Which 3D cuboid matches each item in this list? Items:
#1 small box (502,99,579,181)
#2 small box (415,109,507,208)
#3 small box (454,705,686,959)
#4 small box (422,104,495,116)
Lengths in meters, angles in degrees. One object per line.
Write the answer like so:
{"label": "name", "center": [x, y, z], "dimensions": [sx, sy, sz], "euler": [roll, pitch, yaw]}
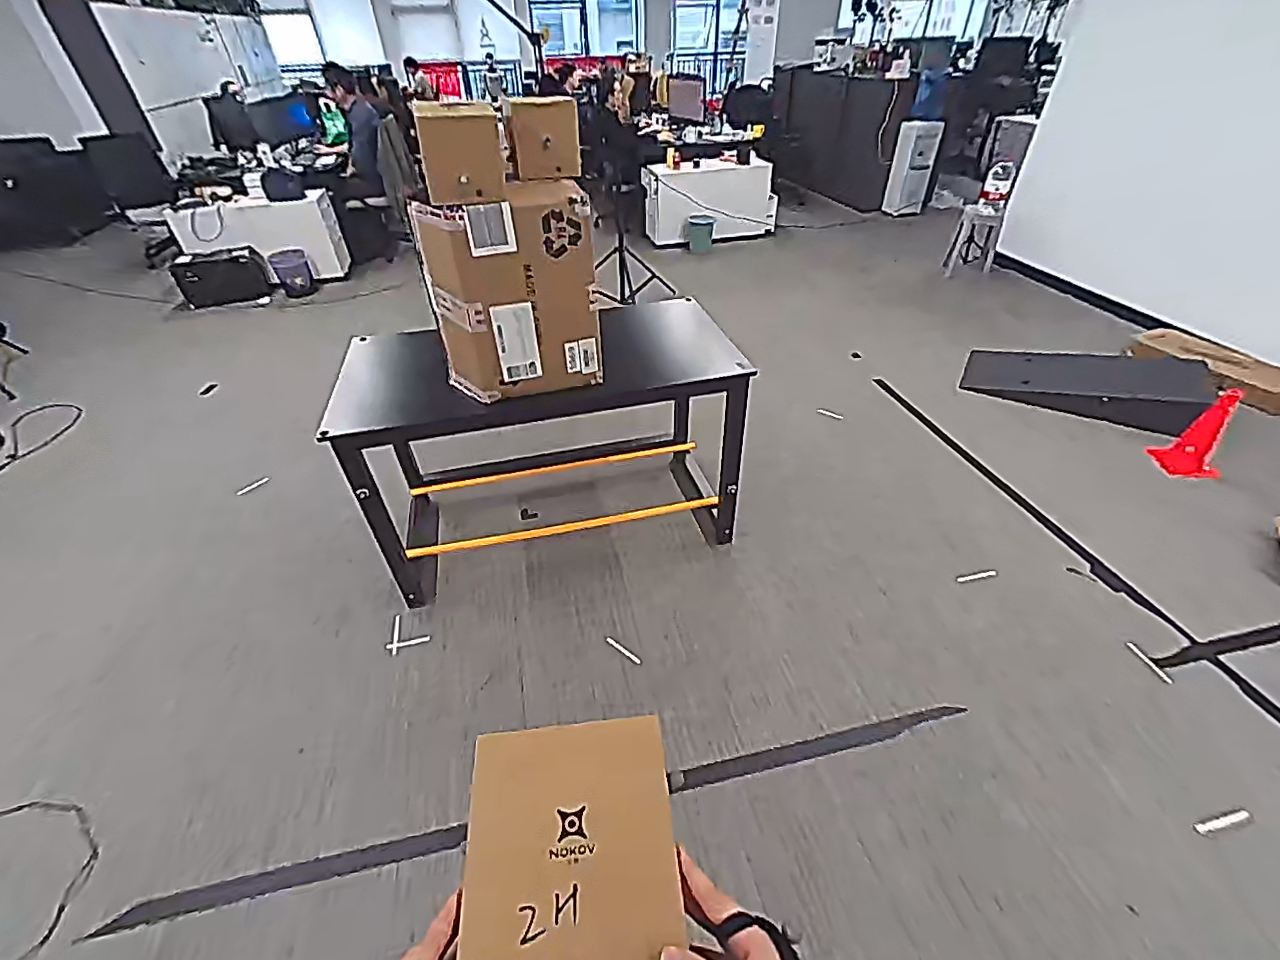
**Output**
{"label": "small box", "center": [-0.260, -0.892, 1.423], "dimensions": [0.168, 0.176, 0.179], "euler": [-11, 40, -15]}
{"label": "small box", "center": [-0.399, -0.719, 1.208], "dimensions": [0.168, 0.176, 0.179], "euler": [-12, 43, -15]}
{"label": "small box", "center": [-0.056, 0.332, 0.493], "dimensions": [0.168, 0.176, 0.179], "euler": [-5, 46, -4]}
{"label": "small box", "center": [-0.452, -0.856, 1.384], "dimensions": [0.168, 0.176, 0.179], "euler": [-14, 39, -14]}
